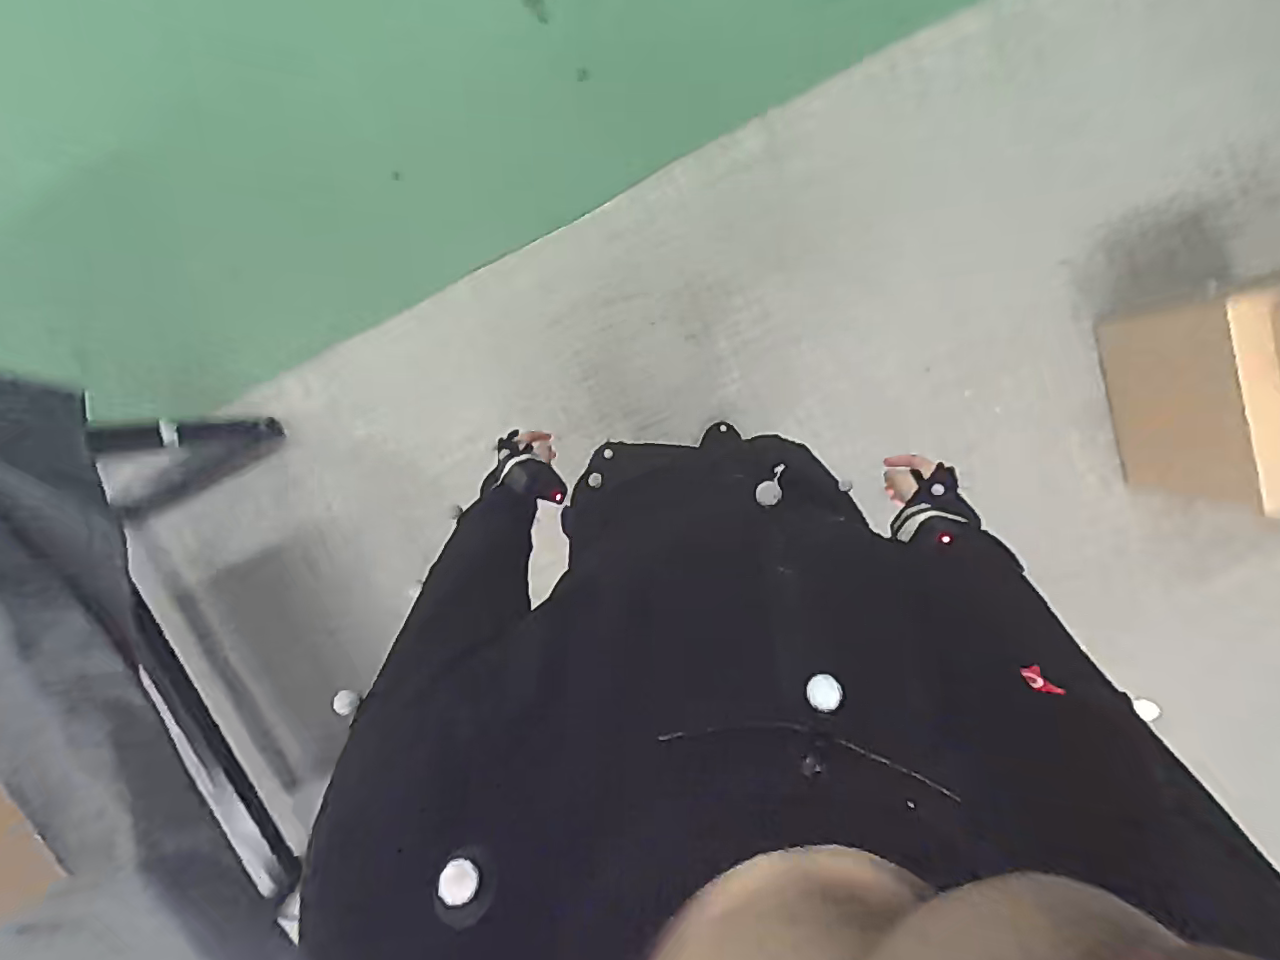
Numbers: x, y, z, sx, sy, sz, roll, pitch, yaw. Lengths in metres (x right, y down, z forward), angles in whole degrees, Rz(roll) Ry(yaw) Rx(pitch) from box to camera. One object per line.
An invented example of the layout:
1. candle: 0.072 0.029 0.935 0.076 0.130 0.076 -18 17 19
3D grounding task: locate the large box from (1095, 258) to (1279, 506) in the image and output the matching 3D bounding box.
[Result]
1. large box: 1.229 -0.208 1.091 0.320 0.320 0.408 -19 97 7

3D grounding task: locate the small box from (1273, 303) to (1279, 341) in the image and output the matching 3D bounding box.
1. small box: 1.178 -0.232 0.845 0.168 0.176 0.179 -20 96 5
